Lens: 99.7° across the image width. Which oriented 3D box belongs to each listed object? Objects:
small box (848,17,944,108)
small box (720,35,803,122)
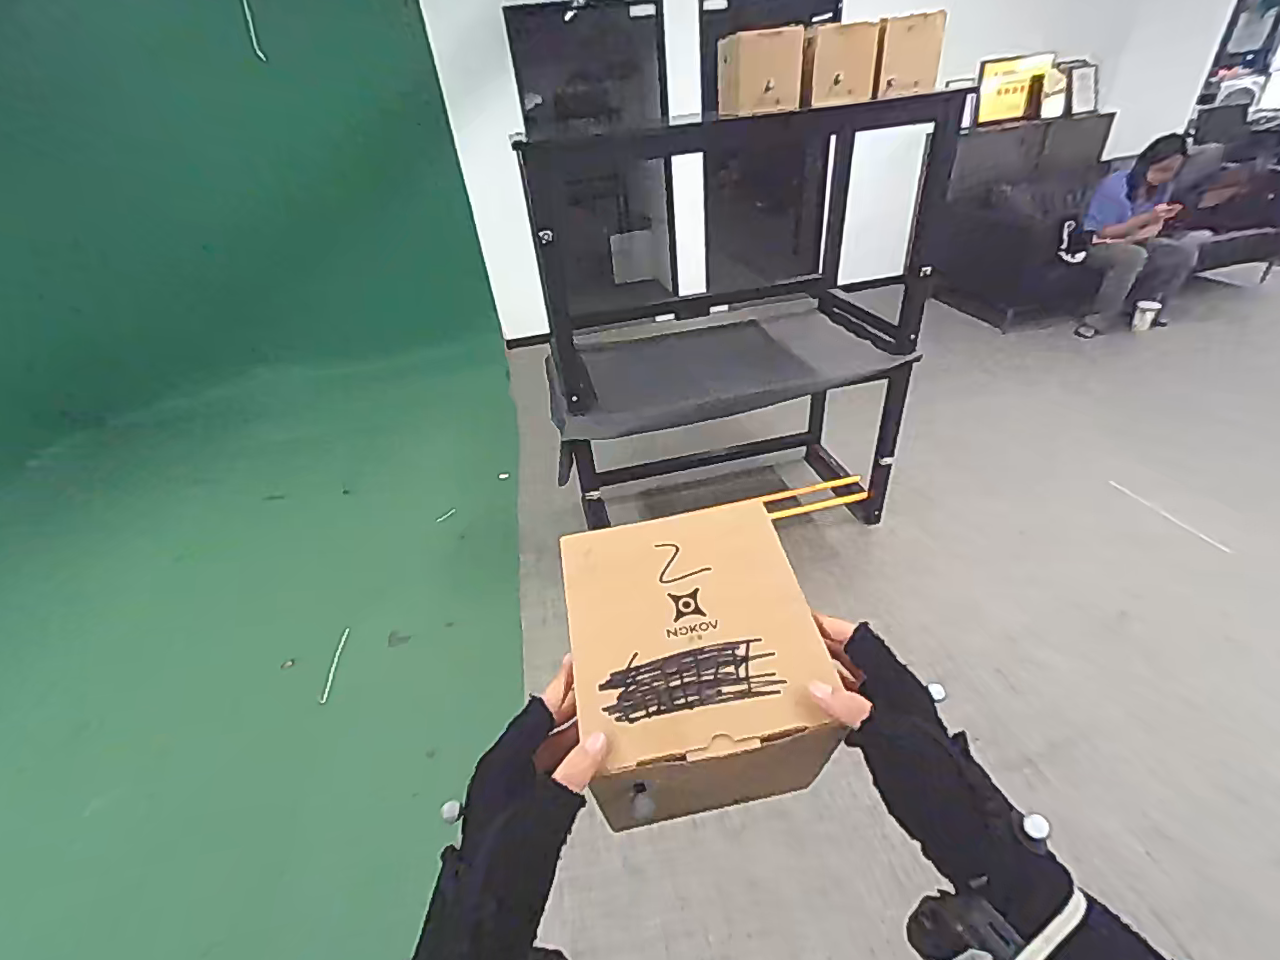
[{"bbox_3d":[0.687,-1.127,1.470,0.168,0.176,0.179,-10,33,-4],"label":"small box"},{"bbox_3d":[0.313,-1.056,1.432,0.168,0.176,0.179,-10,34,-5],"label":"small box"}]
